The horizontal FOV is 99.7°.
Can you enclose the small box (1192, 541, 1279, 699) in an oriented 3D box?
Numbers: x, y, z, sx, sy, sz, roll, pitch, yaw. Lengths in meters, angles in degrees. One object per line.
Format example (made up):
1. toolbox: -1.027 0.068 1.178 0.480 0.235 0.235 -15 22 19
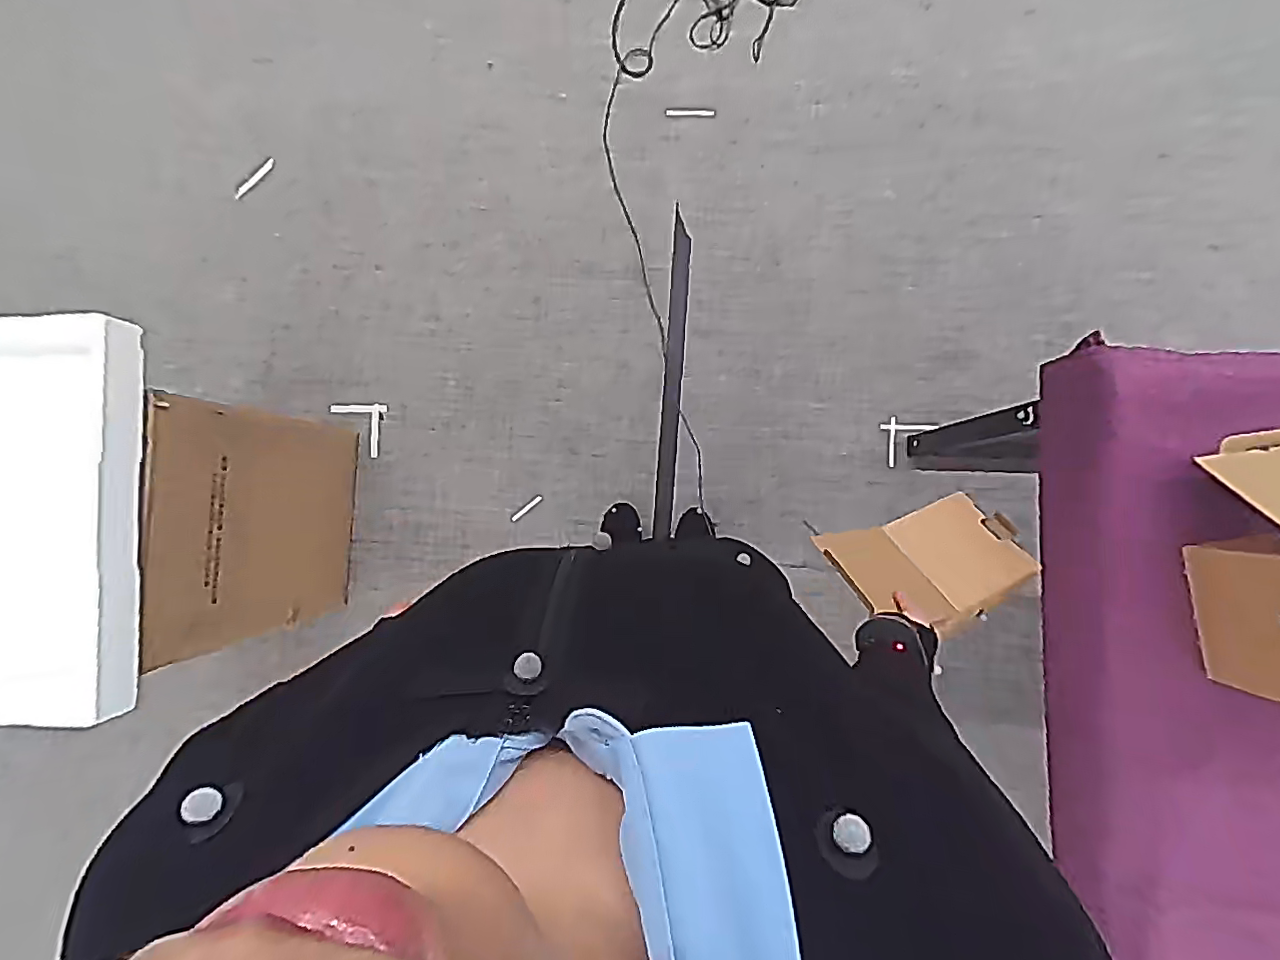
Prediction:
1. small box: 0.794 0.160 0.614 0.168 0.176 0.179 -8 87 5
